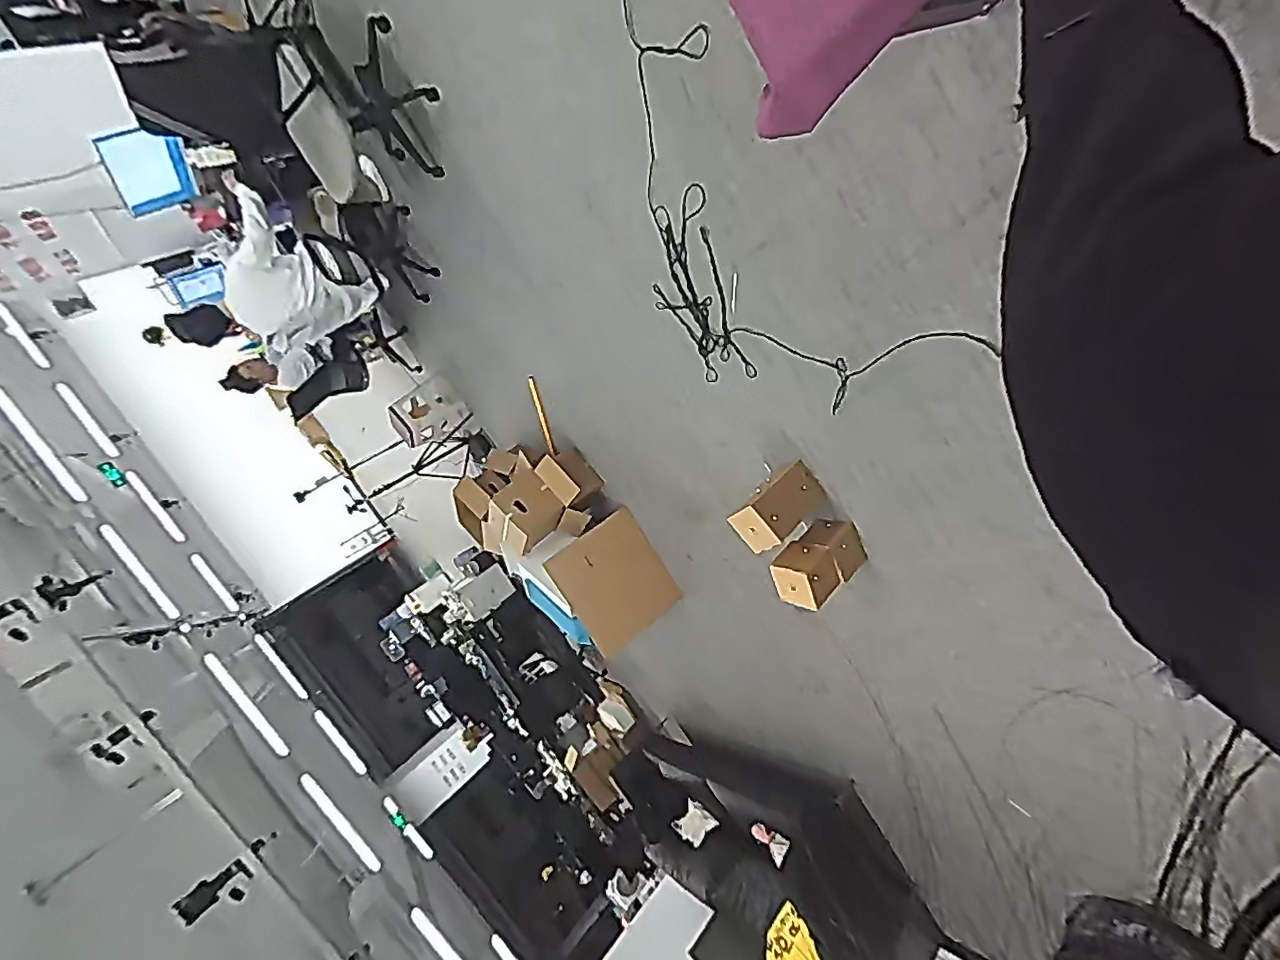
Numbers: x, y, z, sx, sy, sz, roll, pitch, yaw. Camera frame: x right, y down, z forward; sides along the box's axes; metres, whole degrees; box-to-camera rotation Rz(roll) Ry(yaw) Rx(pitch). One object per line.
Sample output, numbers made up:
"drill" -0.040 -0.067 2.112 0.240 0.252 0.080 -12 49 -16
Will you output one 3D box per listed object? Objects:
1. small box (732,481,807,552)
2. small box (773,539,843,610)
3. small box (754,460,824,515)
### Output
"small box" 0.482 0.136 2.000 0.179 0.176 0.168 51 149 3
"small box" 0.633 0.349 2.021 0.168 0.176 0.179 7 126 52
"small box" 0.584 0.047 2.092 0.168 0.176 0.179 53 151 -1
